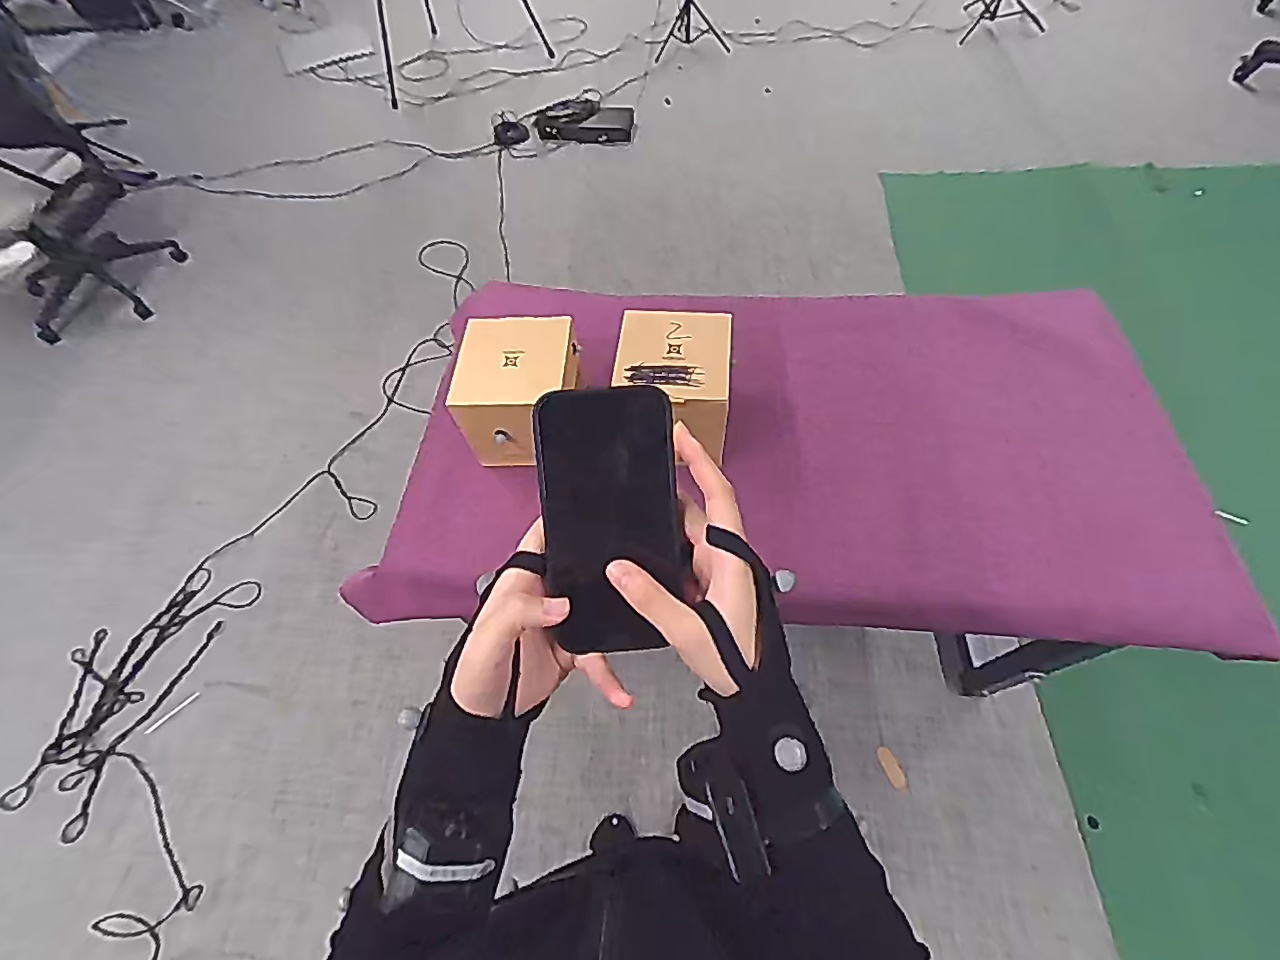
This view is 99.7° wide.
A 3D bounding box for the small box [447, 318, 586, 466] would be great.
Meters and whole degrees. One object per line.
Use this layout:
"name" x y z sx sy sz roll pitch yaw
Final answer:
"small box" -0.183 -0.133 0.865 0.168 0.176 0.179 -1 58 4
